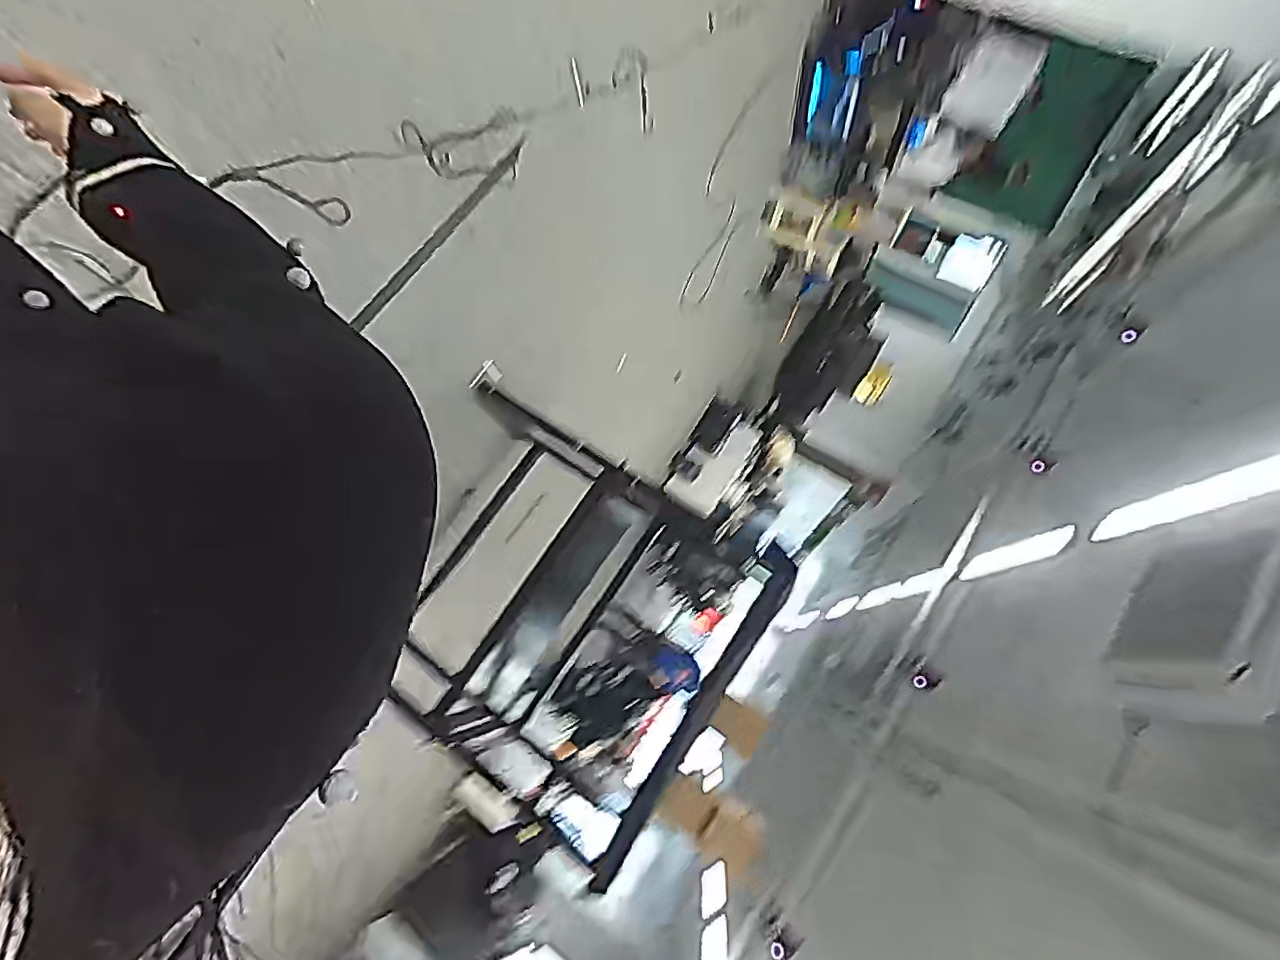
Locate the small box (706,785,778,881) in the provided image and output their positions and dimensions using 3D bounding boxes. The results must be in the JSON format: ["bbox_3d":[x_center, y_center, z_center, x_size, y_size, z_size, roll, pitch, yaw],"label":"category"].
[{"bbox_3d":[0.320,1.125,1.737,0.168,0.176,0.179,-55,165,-8],"label":"small box"}]

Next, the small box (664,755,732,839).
[{"bbox_3d":[0.190,1.053,1.809,0.168,0.176,0.179,-55,166,-15],"label":"small box"}]

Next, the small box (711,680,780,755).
[{"bbox_3d":[0.357,0.809,1.861,0.168,0.176,0.179,-56,166,-11],"label":"small box"}]
